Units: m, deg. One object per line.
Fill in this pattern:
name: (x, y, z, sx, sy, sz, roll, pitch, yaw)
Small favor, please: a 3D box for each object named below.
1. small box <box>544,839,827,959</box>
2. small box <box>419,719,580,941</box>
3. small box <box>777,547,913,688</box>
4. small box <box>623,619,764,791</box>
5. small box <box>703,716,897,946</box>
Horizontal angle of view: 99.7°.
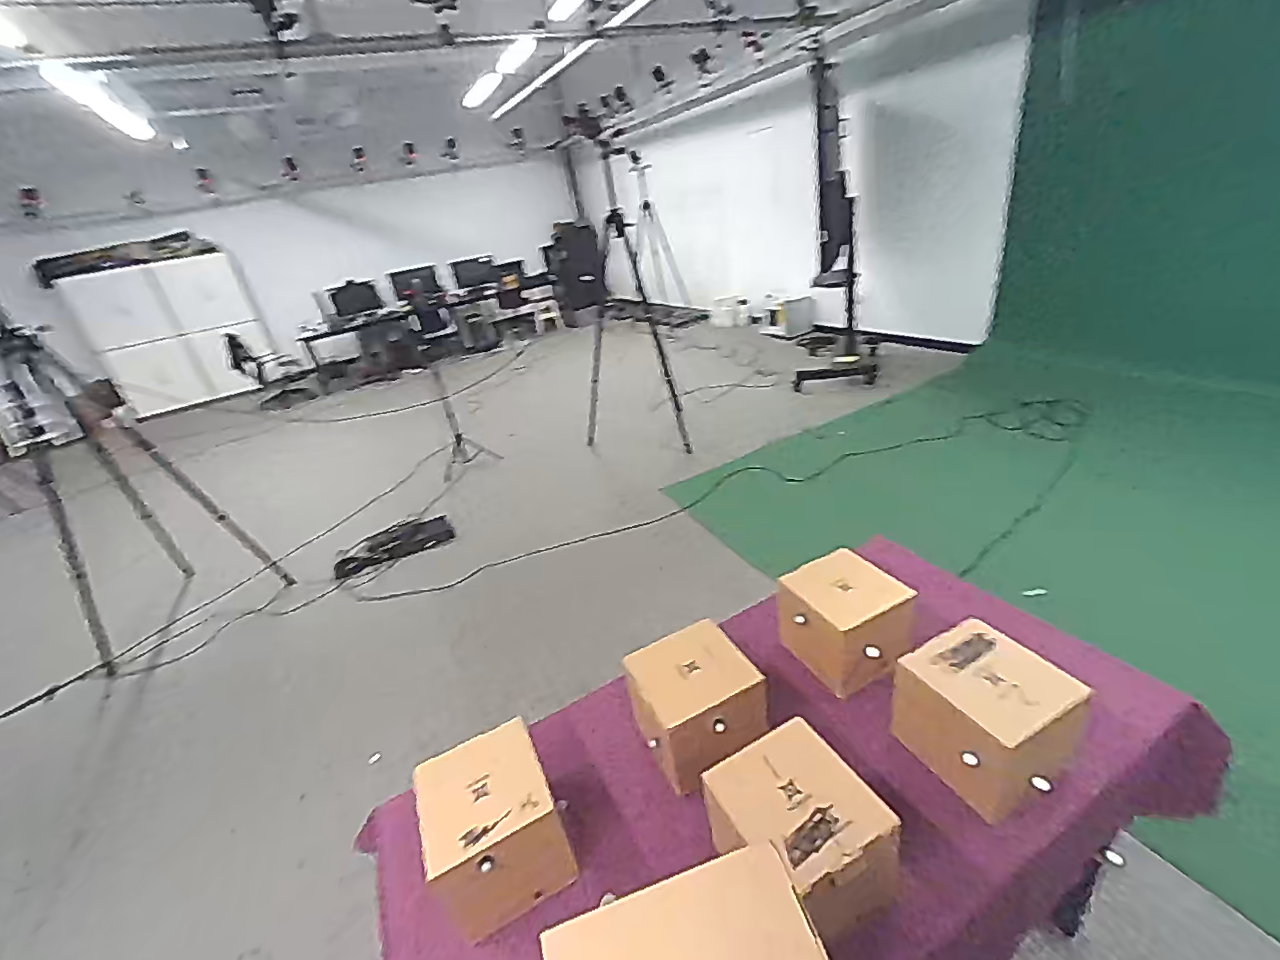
small box: (0.049, 0.389, 0.364, 0.179, 0.176, 0.168, -16, 38, -7)
small box: (-0.204, 0.499, 0.785, 0.168, 0.176, 0.179, -21, 28, -19)
small box: (0.382, 0.261, 1.018, 0.168, 0.176, 0.179, -21, 28, -17)
small box: (0.094, 0.376, 0.910, 0.179, 0.176, 0.168, -20, 29, -18)
small box: (0.205, 0.459, 0.702, 0.168, 0.176, 0.179, -21, 27, -19)
